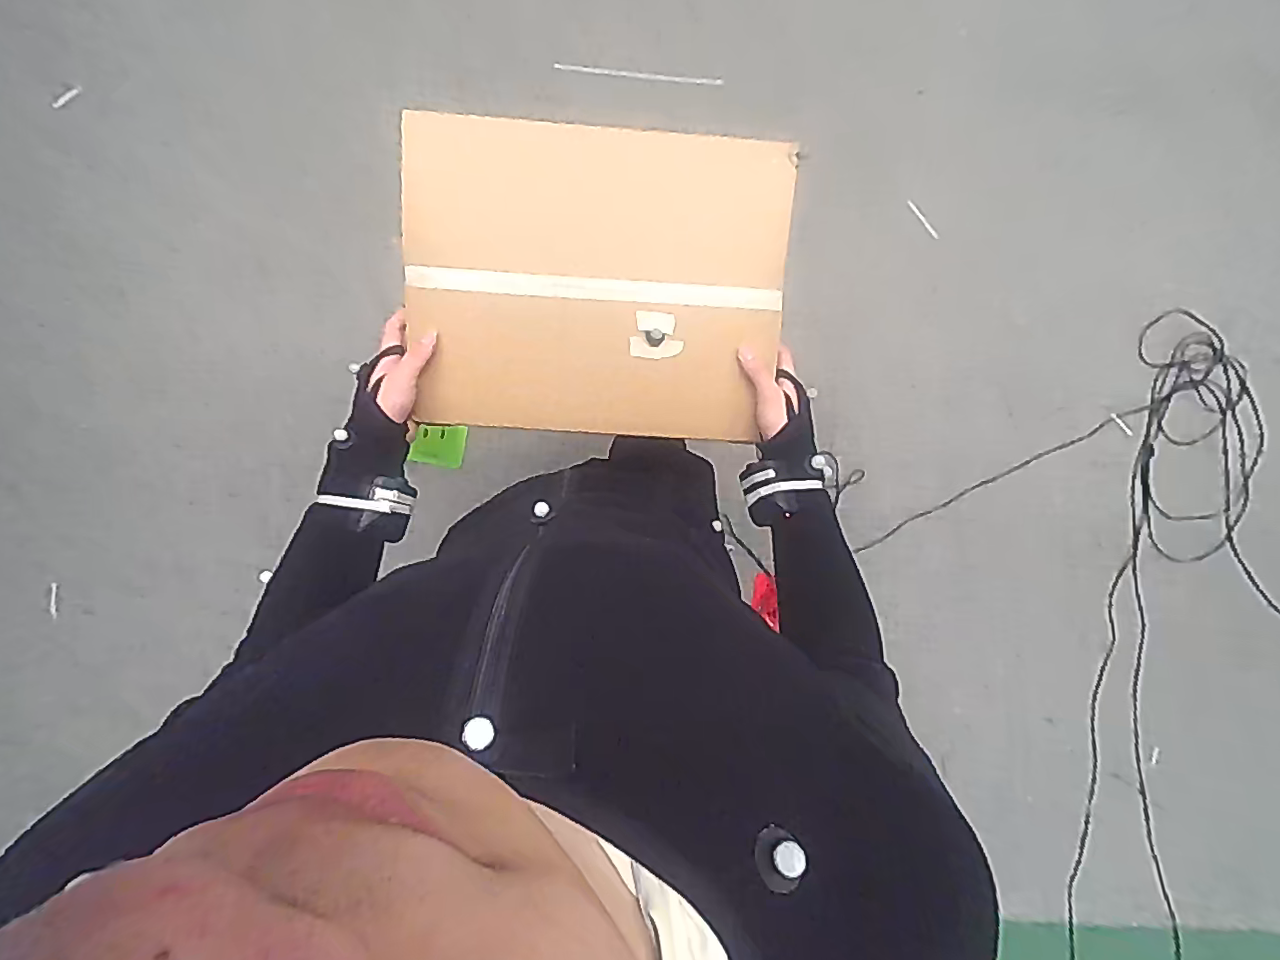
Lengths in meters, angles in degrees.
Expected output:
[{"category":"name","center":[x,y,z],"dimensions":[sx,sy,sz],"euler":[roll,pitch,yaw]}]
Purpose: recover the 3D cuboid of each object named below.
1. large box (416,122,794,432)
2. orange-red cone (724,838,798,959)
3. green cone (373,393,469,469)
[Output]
[{"category":"large box","center":[-0.047,-0.241,0.738],"dimensions":[0.408,0.320,0.320],"euler":[2,103,-3]},{"category":"orange-red cone","center":[0.393,1.276,1.579],"dimensions":[0.199,0.360,0.198],"euler":[12,96,-5]},{"category":"green cone","center":[-0.600,-0.122,1.412],"dimensions":[0.200,0.368,0.202],"euler":[11,96,-3]}]
